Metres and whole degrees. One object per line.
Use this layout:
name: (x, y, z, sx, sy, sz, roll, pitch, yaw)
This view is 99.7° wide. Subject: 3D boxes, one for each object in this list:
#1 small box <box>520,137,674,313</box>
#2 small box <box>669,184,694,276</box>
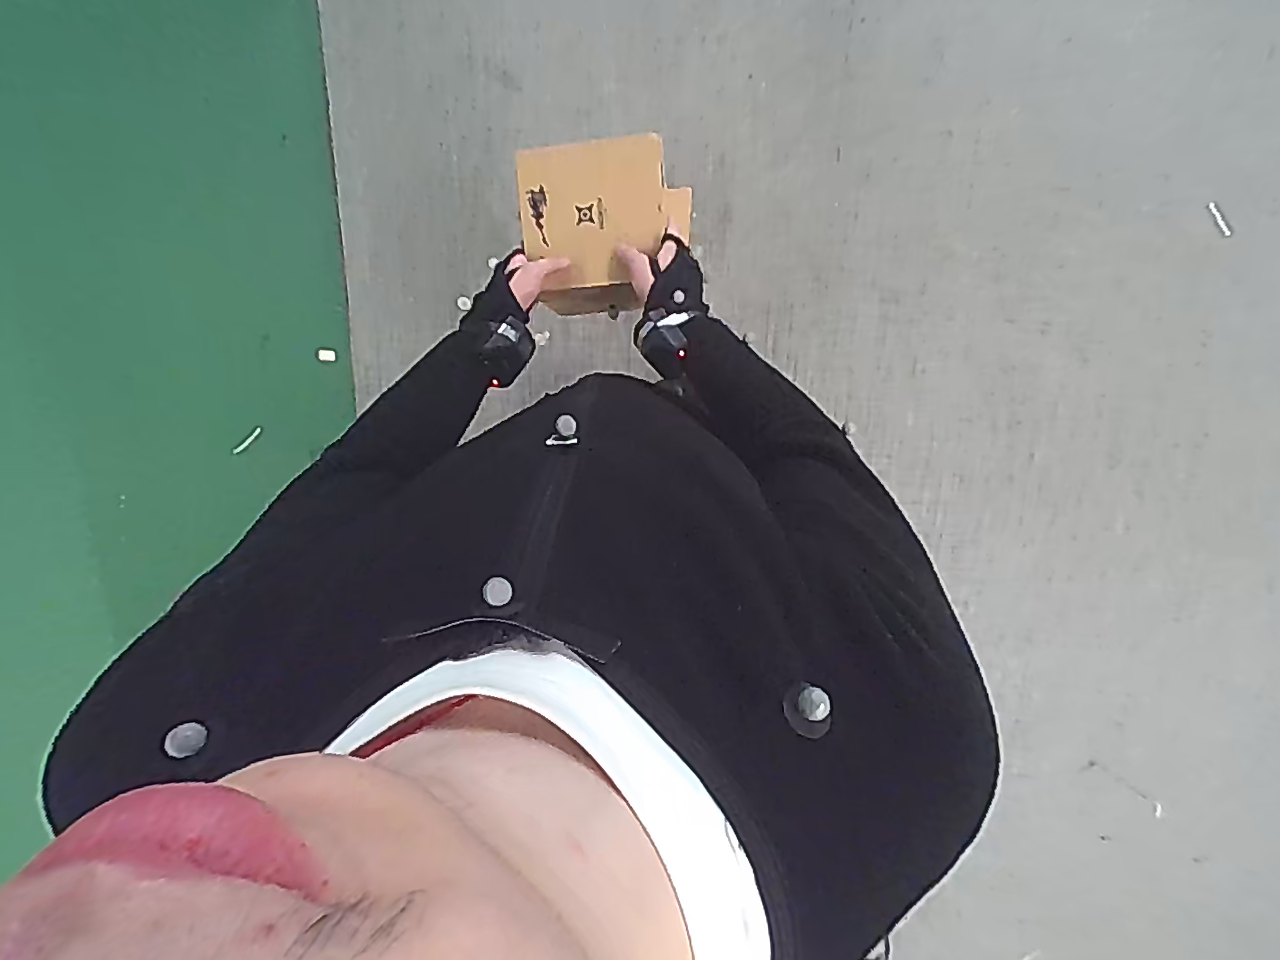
small box: (-0.046, -0.325, 0.722, 0.179, 0.176, 0.168, -3, 97, 5)
small box: (0.043, -0.618, 1.348, 0.168, 0.176, 0.179, 5, 103, 4)
